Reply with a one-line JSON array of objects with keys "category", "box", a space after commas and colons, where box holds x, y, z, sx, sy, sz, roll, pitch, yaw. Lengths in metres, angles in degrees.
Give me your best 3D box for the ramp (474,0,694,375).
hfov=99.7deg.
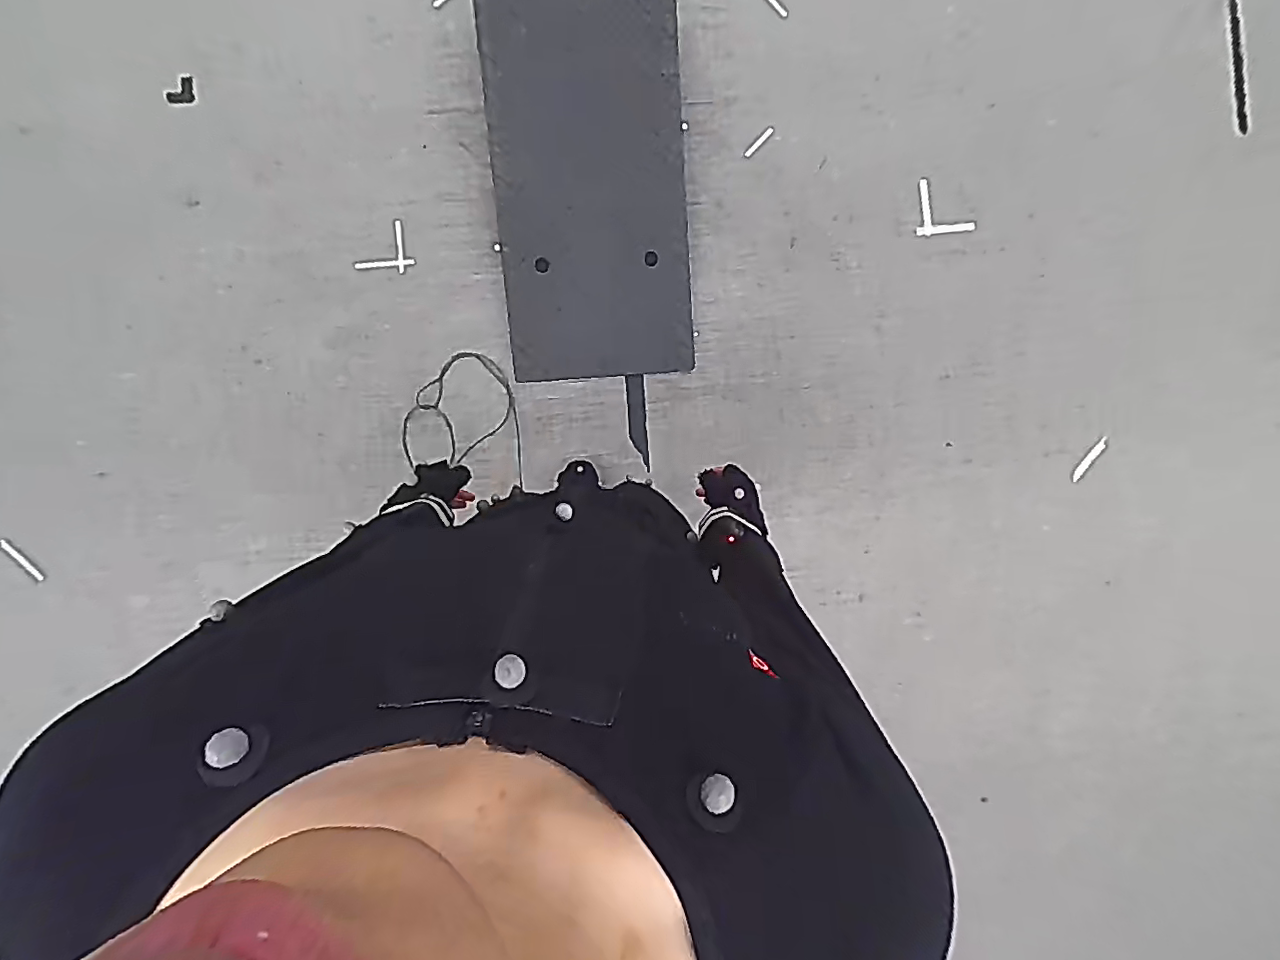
[{"category": "ramp", "box": [-0.124, -0.789, 1.375, 0.509, 0.206, 0.991, -7, 92, -5]}]
